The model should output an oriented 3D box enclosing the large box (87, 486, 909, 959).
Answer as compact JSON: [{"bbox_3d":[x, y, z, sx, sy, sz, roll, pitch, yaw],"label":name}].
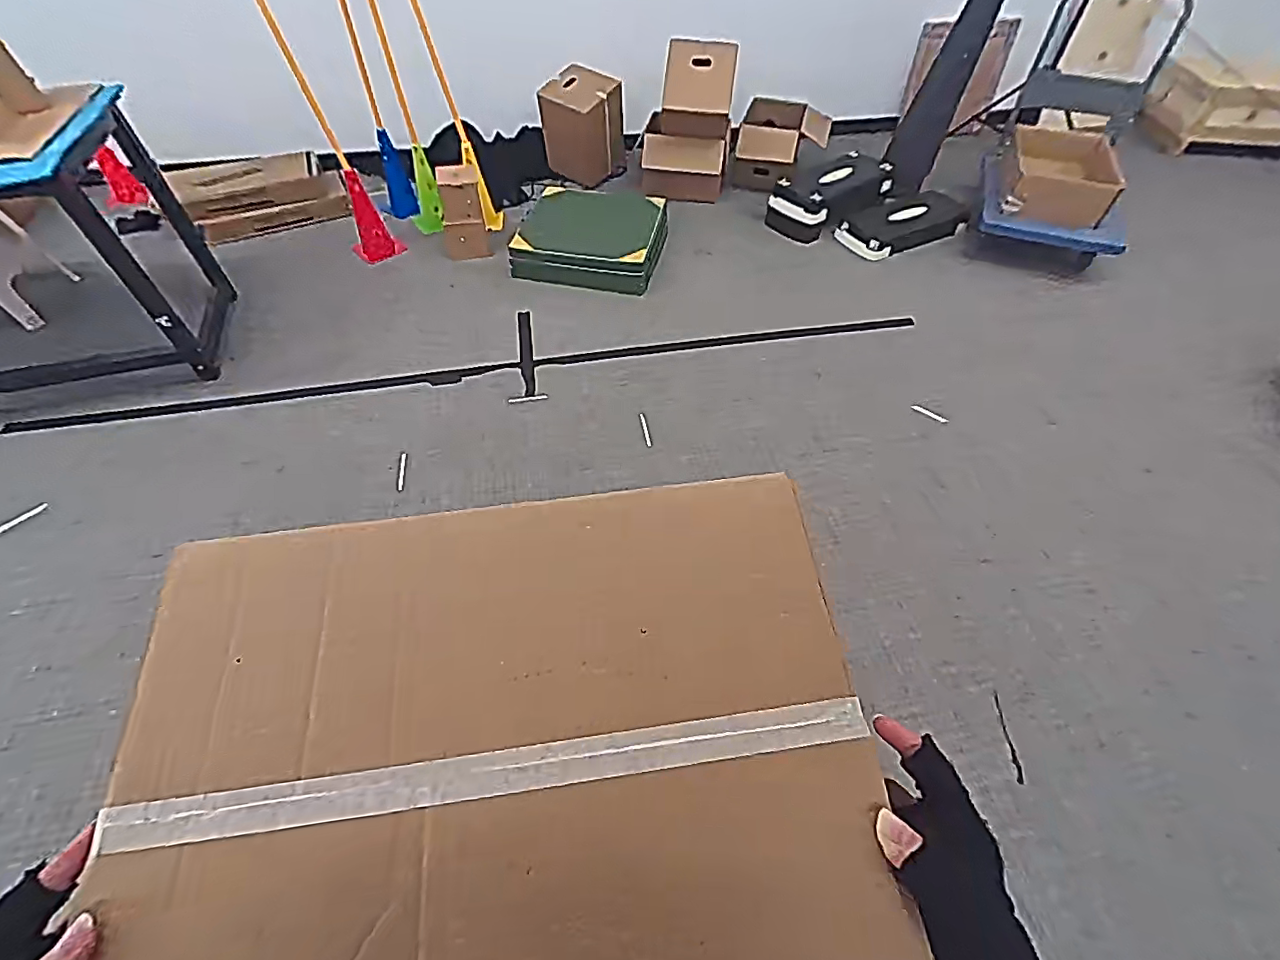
[{"bbox_3d":[-0.078,0.229,0.436,0.408,0.320,0.320,-7,62,-3],"label":"large box"}]
